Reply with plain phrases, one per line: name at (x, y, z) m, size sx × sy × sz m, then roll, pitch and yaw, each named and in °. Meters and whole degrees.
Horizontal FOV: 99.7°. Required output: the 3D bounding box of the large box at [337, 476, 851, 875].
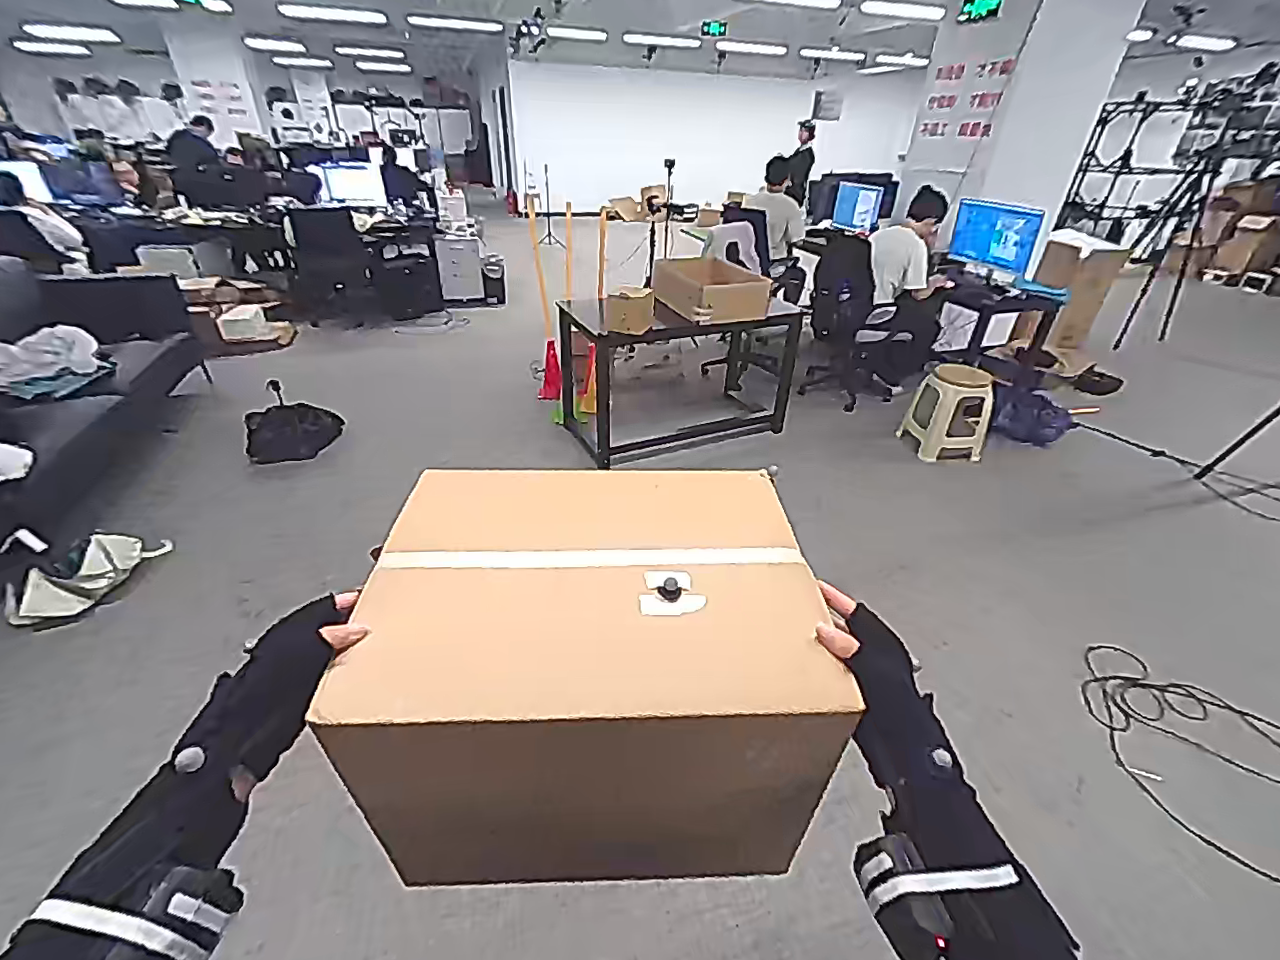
large box at (-0.046, 0.204, 0.616) m, size 0.408 × 0.320 × 0.320 m, roll 0°, pitch 36°, yaw -4°
